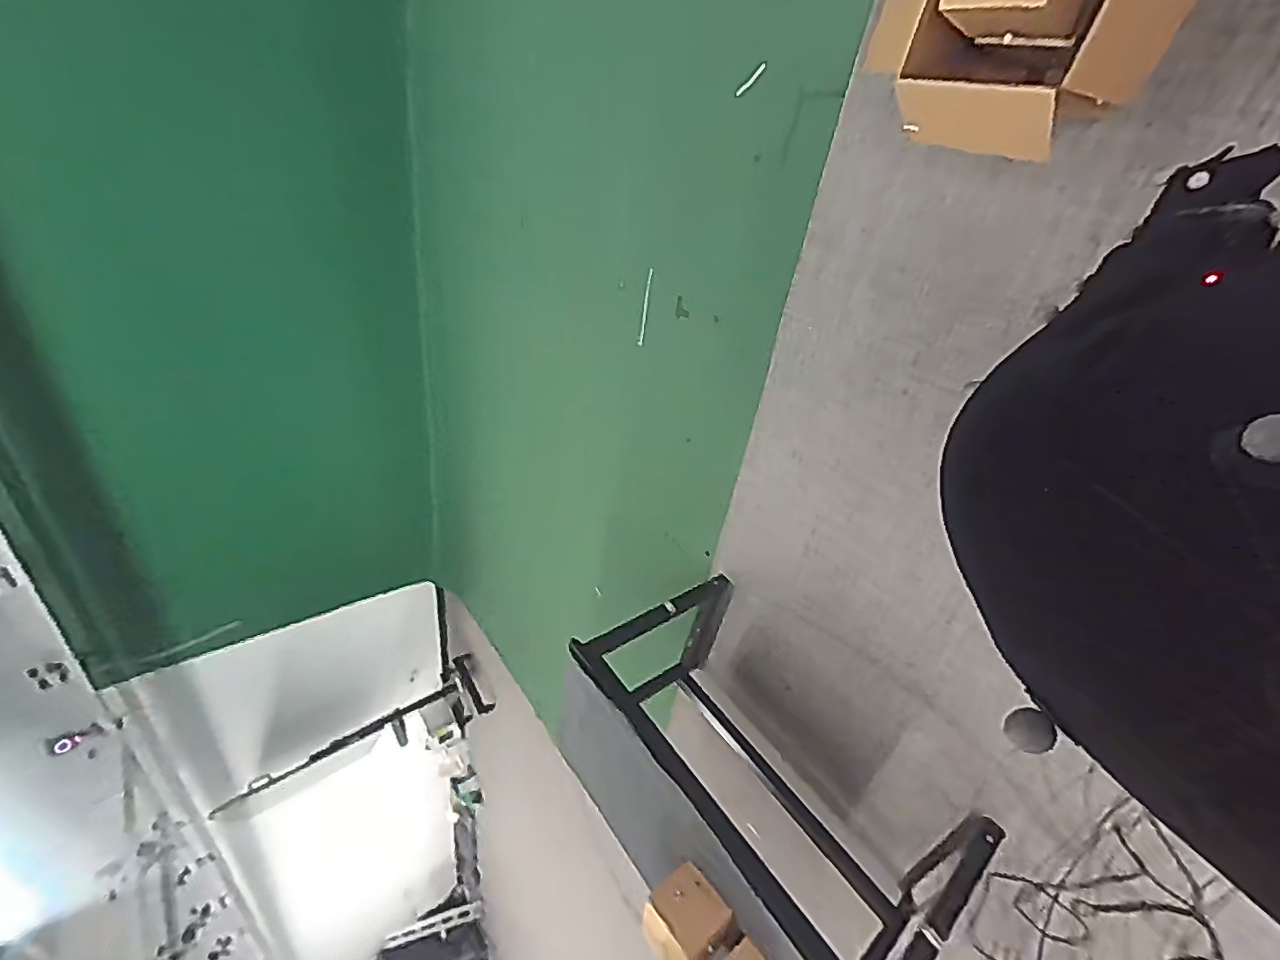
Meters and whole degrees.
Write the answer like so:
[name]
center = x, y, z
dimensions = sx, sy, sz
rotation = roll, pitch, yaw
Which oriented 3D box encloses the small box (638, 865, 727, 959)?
[small box]
center = 0.115, 1.194, 1.453
dimensions = 0.168, 0.176, 0.179
rotation = 31, 127, 43
